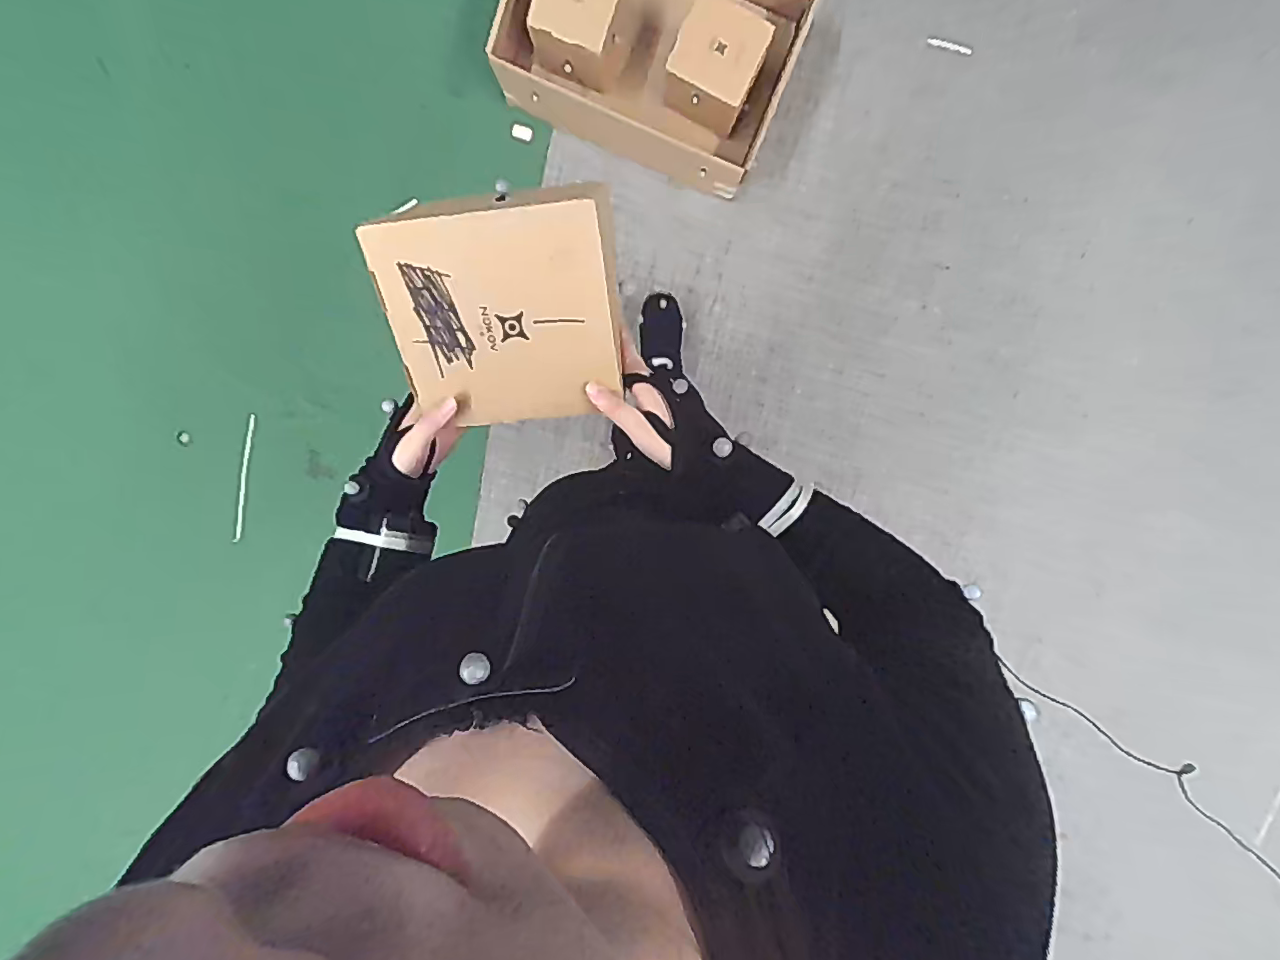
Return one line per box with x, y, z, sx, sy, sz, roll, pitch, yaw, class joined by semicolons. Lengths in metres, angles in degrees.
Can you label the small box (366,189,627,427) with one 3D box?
-0.107;-0.163;0.495;0.179;0.176;0.168;-6;122;2;small box
